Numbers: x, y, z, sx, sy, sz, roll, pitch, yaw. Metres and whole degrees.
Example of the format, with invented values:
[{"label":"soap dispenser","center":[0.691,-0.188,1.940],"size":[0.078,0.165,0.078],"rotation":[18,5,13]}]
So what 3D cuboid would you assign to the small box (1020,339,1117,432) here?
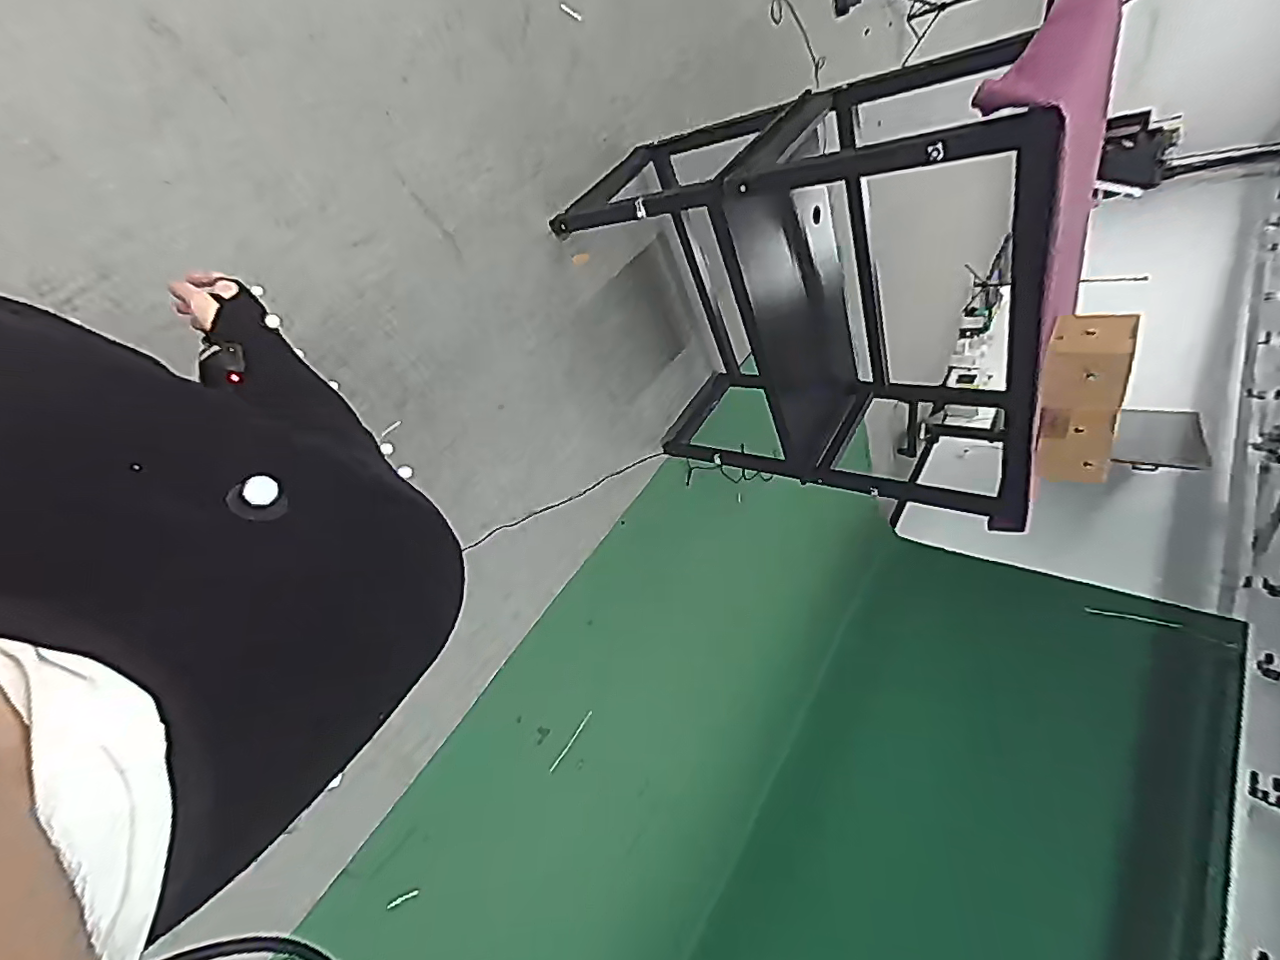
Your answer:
[{"label":"small box","center":[1.099,-0.246,1.396],"size":[0.168,0.176,0.179],"rotation":[-51,134,-28]}]

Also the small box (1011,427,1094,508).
[{"label":"small box","center":[1.215,-0.044,1.599],"size":[0.168,0.176,0.179],"rotation":[-49,134,-30]}]
